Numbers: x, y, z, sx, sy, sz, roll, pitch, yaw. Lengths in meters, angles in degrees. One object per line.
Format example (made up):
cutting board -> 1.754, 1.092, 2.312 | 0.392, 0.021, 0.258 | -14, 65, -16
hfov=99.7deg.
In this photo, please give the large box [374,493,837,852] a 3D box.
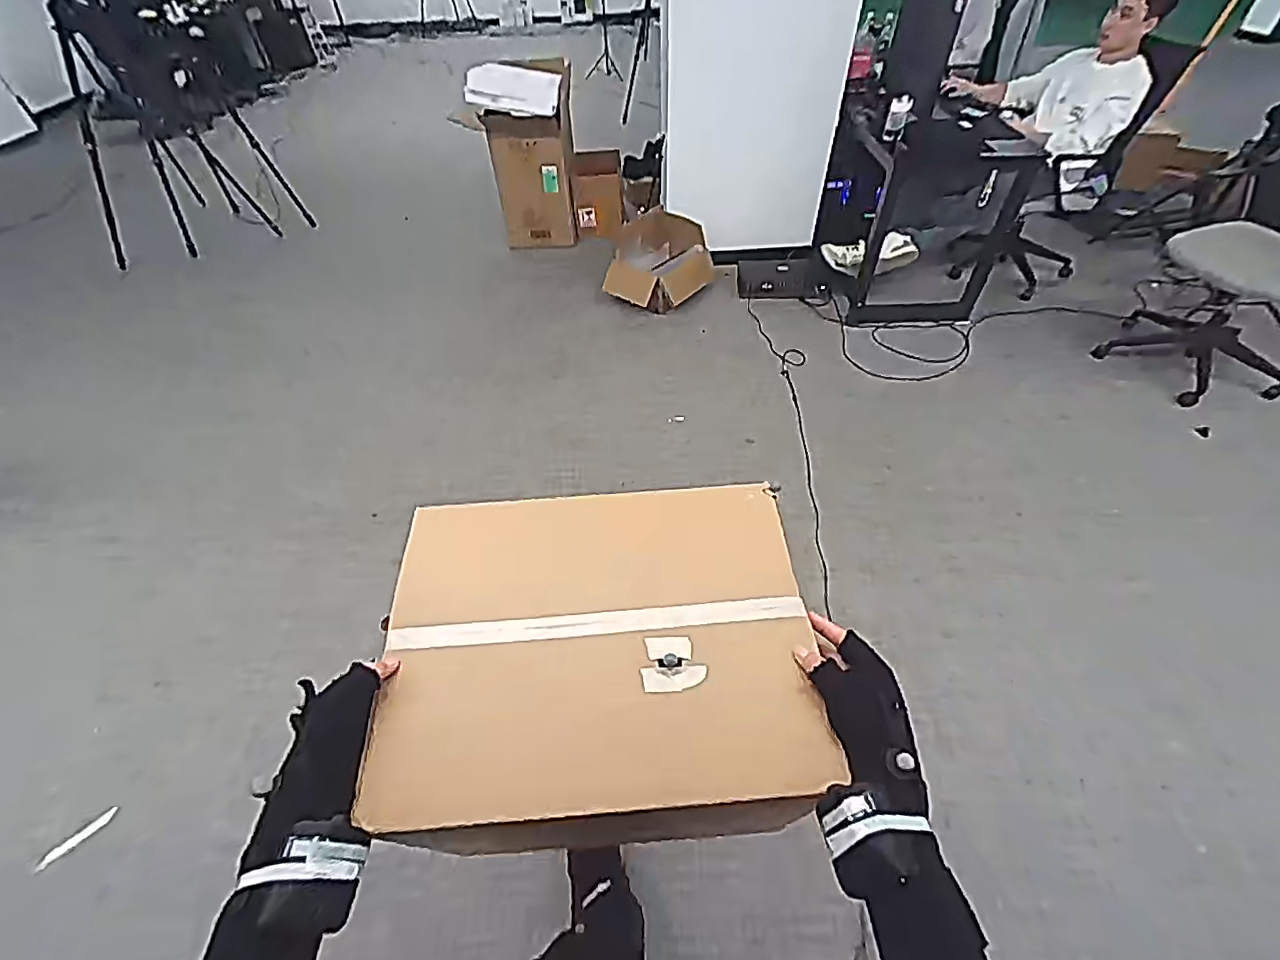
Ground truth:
large box -> -0.037, 0.241, 0.663 | 0.408, 0.320, 0.320 | -4, 53, -2
